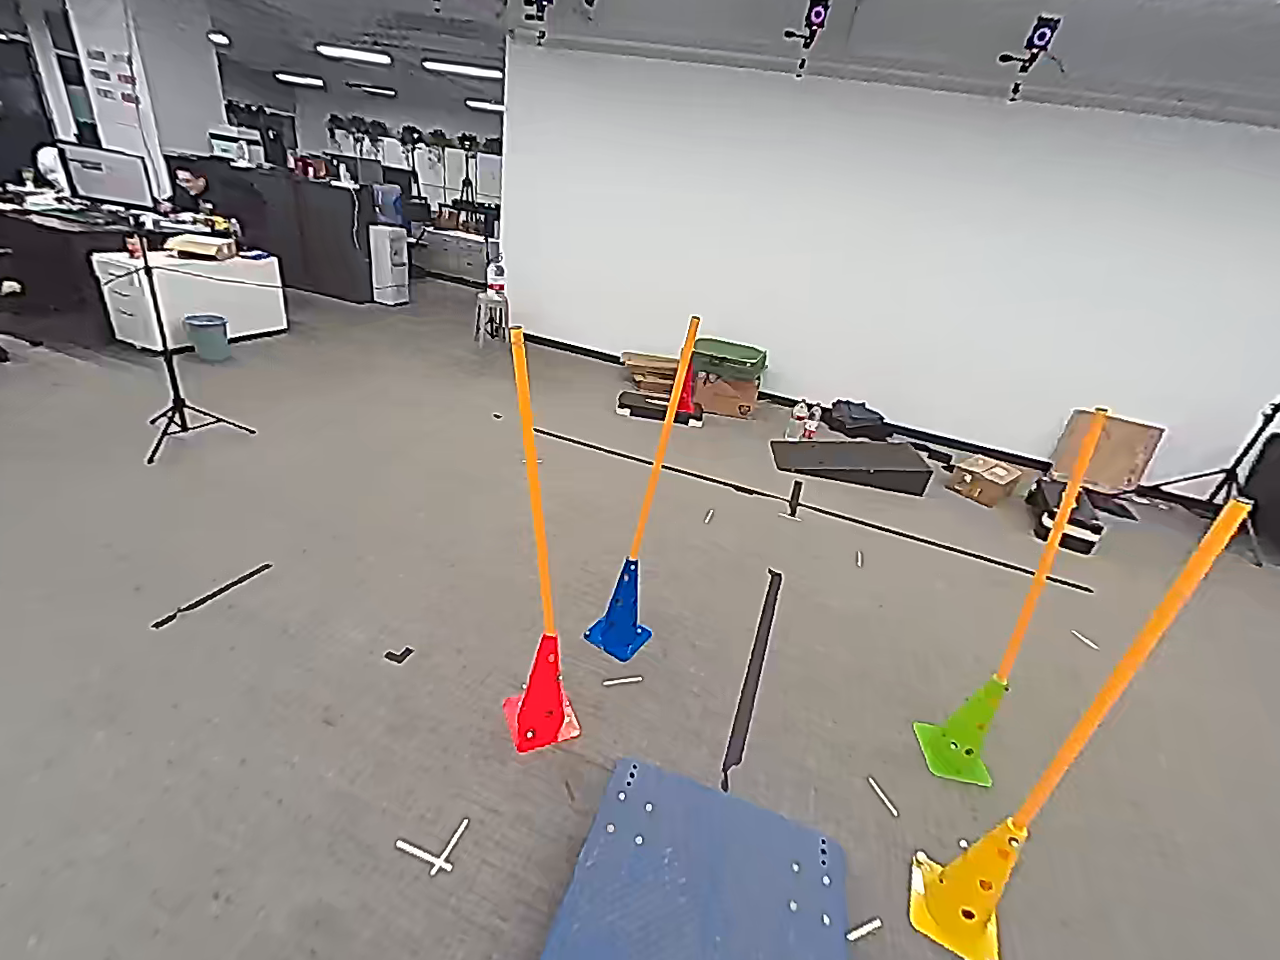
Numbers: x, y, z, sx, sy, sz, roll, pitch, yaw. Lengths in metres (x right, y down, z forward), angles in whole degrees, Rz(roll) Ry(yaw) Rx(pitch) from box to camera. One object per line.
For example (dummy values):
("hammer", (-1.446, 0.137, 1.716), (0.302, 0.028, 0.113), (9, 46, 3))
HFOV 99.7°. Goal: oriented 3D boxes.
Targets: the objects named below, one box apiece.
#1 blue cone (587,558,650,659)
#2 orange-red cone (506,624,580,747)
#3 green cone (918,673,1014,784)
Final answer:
("blue cone", (-0.051, 0.434, 1.943), (0.193, 0.380, 0.192), (25, 31, 27))
("orange-red cone", (-0.269, 0.567, 1.580), (0.199, 0.360, 0.198), (-3, 31, -27))
("green cone", (1.063, 0.742, 1.696), (0.200, 0.368, 0.202), (11, 28, 2))
